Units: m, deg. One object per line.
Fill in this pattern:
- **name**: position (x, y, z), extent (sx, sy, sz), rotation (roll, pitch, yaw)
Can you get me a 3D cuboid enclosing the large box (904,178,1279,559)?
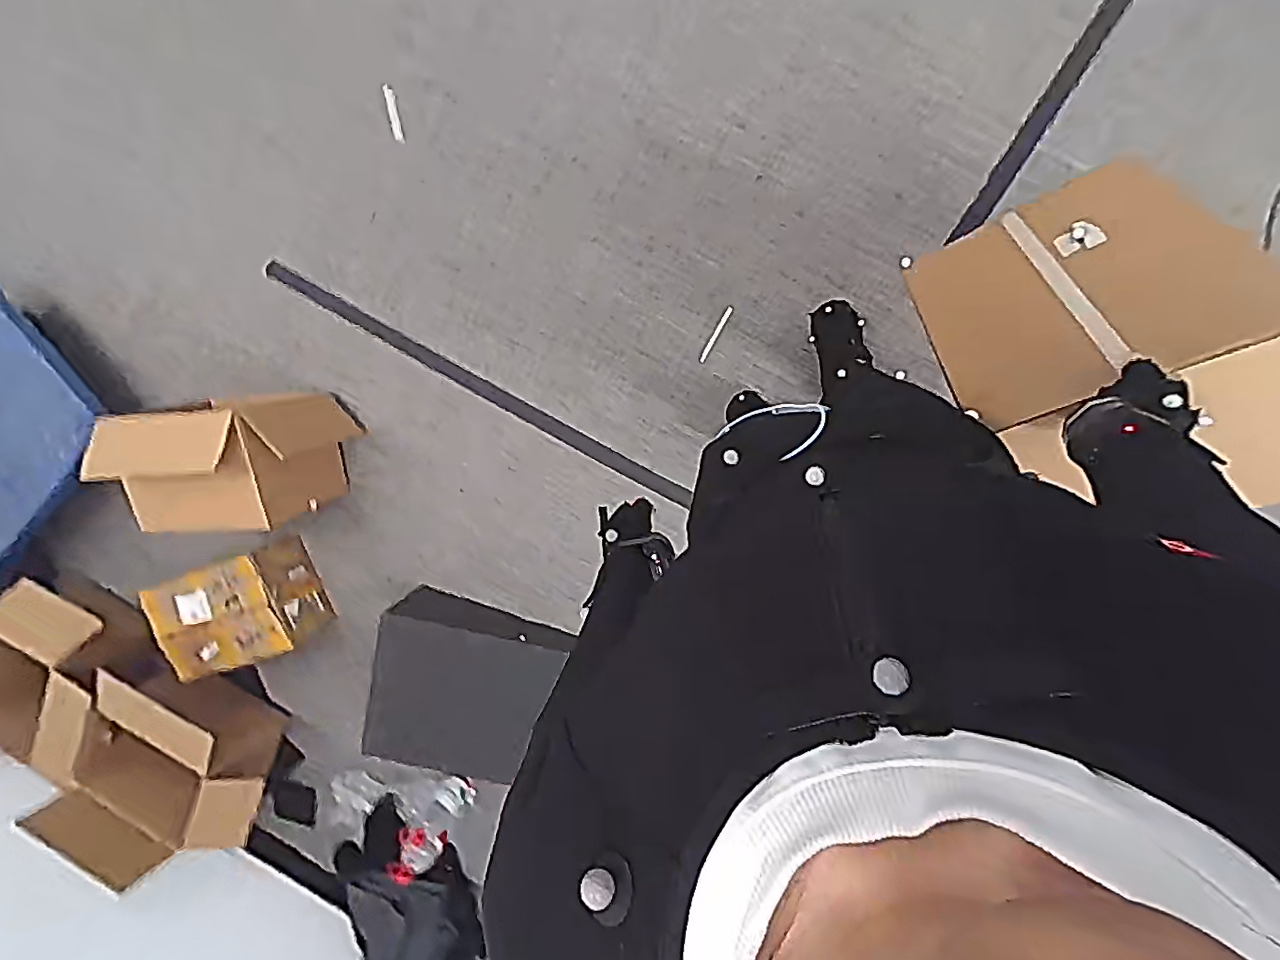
- **large box**: position (0.645, -0.155, 0.806), extent (0.320, 0.408, 0.320), rotation (-22, 131, 29)
